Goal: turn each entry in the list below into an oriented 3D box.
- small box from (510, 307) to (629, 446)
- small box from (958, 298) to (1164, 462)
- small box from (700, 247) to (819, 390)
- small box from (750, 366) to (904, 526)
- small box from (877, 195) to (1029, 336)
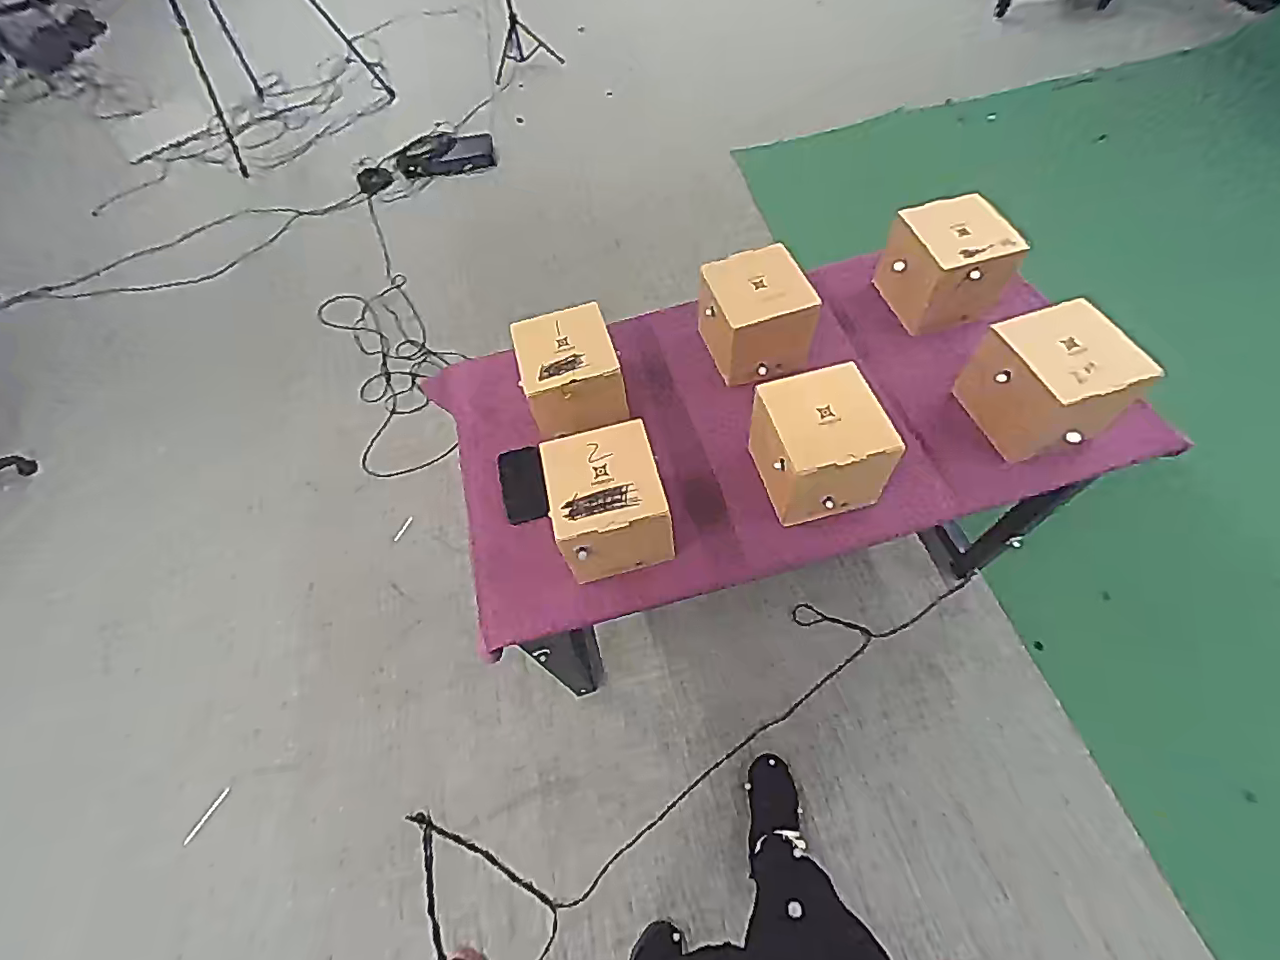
[{"bbox_3d":[-0.125,-0.181,1.001,0.168,0.176,0.179,-17,59,-3],"label":"small box"},{"bbox_3d":[0.668,-0.160,0.890,0.168,0.176,0.179,-18,60,-2],"label":"small box"},{"bbox_3d":[0.217,-0.305,1.035,0.168,0.176,0.179,-17,60,-2],"label":"small box"},{"bbox_3d":[0.286,-0.051,0.877,0.168,0.176,0.179,-15,58,-2],"label":"small box"},{"bbox_3d":[0.590,-0.412,1.051,0.168,0.176,0.179,-15,59,-1],"label":"small box"}]
